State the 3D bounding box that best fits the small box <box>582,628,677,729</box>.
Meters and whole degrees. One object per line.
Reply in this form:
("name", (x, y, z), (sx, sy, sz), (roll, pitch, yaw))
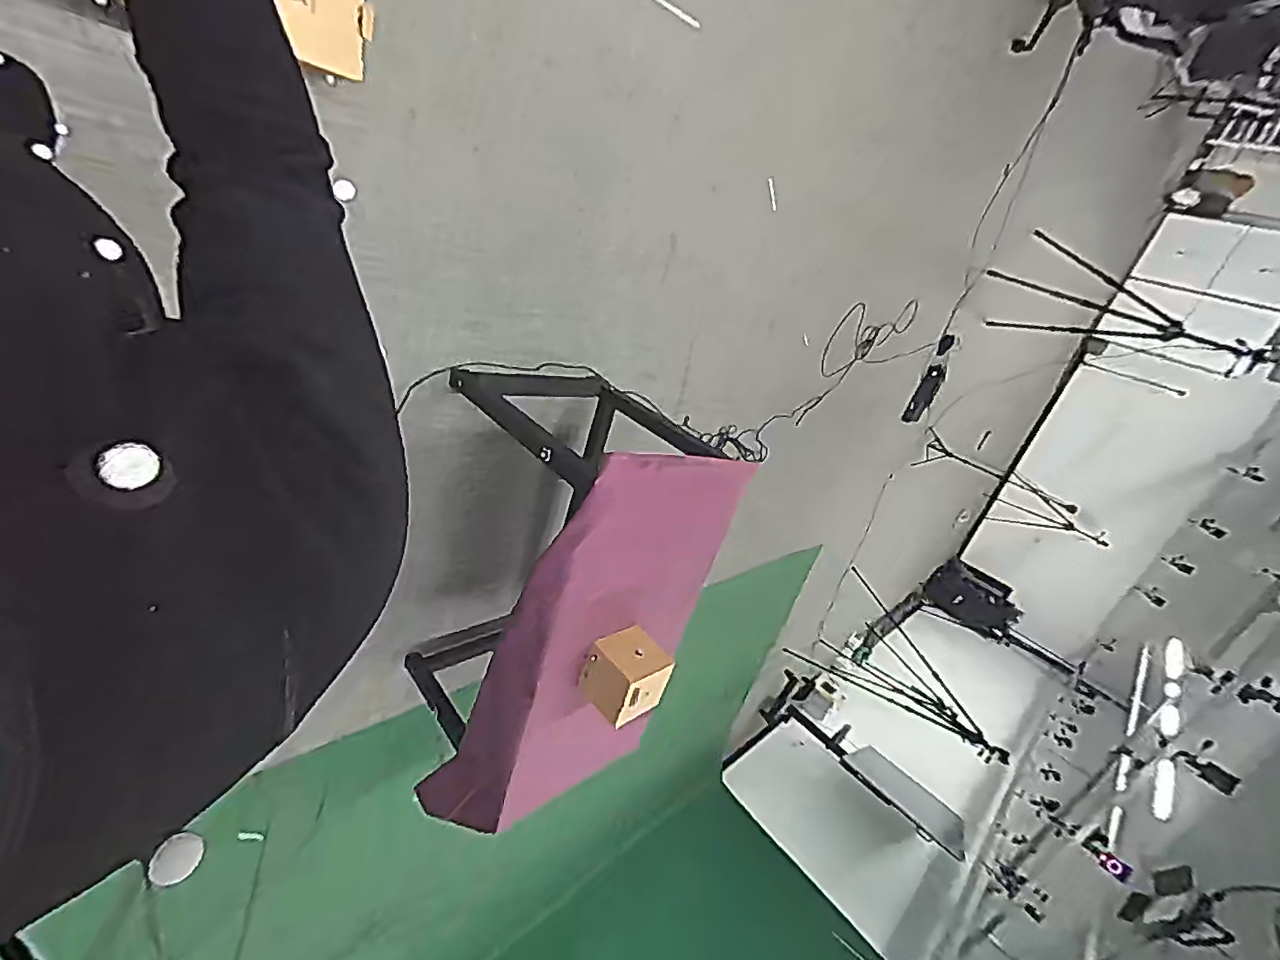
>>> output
("small box", (-0.033, 0.540, 1.494), (0.179, 0.176, 0.168), (-6, 122, -46))
